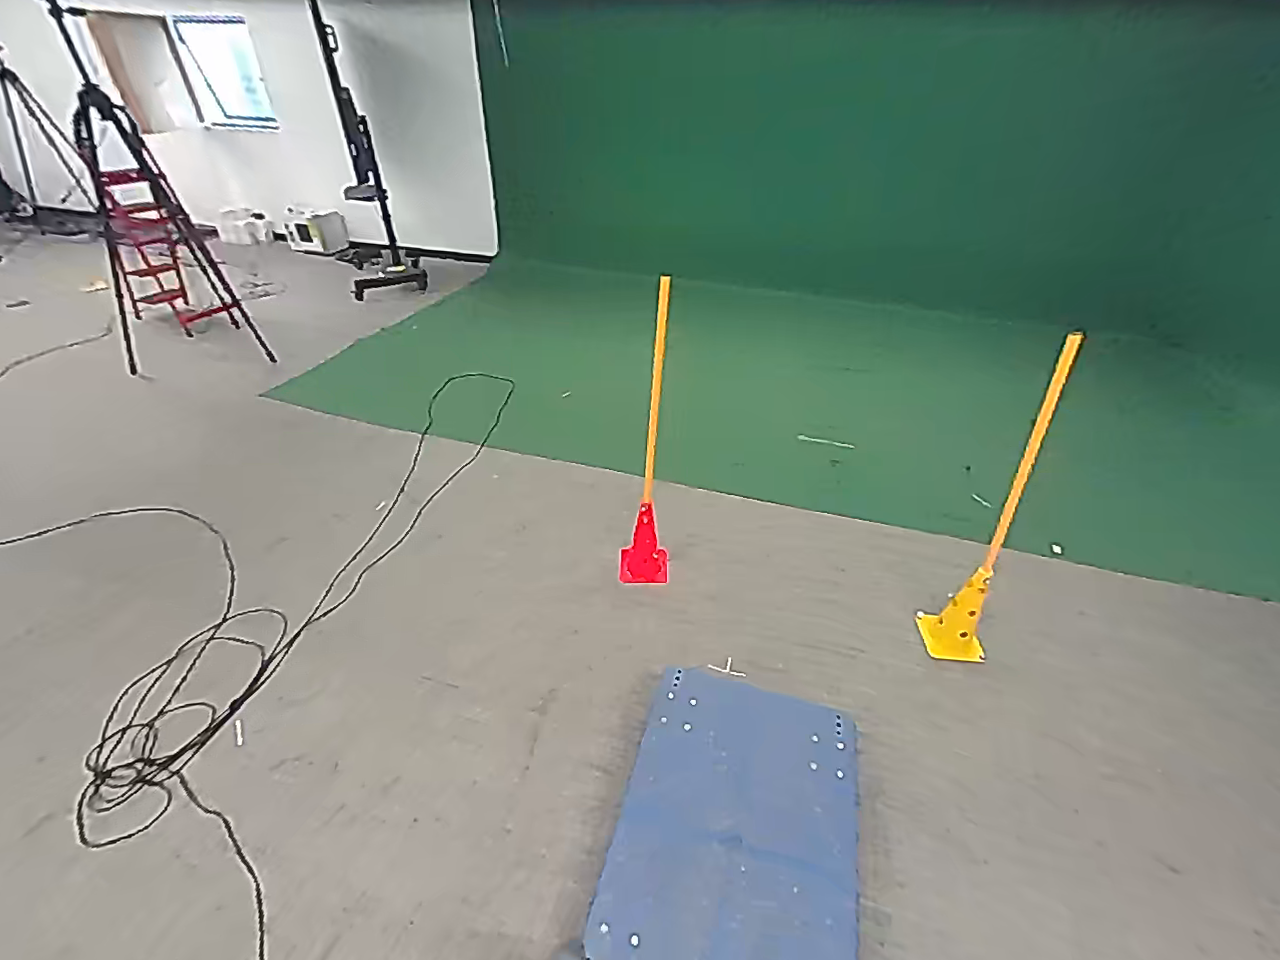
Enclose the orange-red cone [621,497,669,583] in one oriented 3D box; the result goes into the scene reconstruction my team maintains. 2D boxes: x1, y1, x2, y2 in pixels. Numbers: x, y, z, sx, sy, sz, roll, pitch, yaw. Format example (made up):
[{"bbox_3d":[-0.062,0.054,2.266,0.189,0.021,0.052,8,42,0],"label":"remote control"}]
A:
[{"bbox_3d":[0.024,0.220,2.167,0.199,0.360,0.198,1,36,2],"label":"orange-red cone"}]
